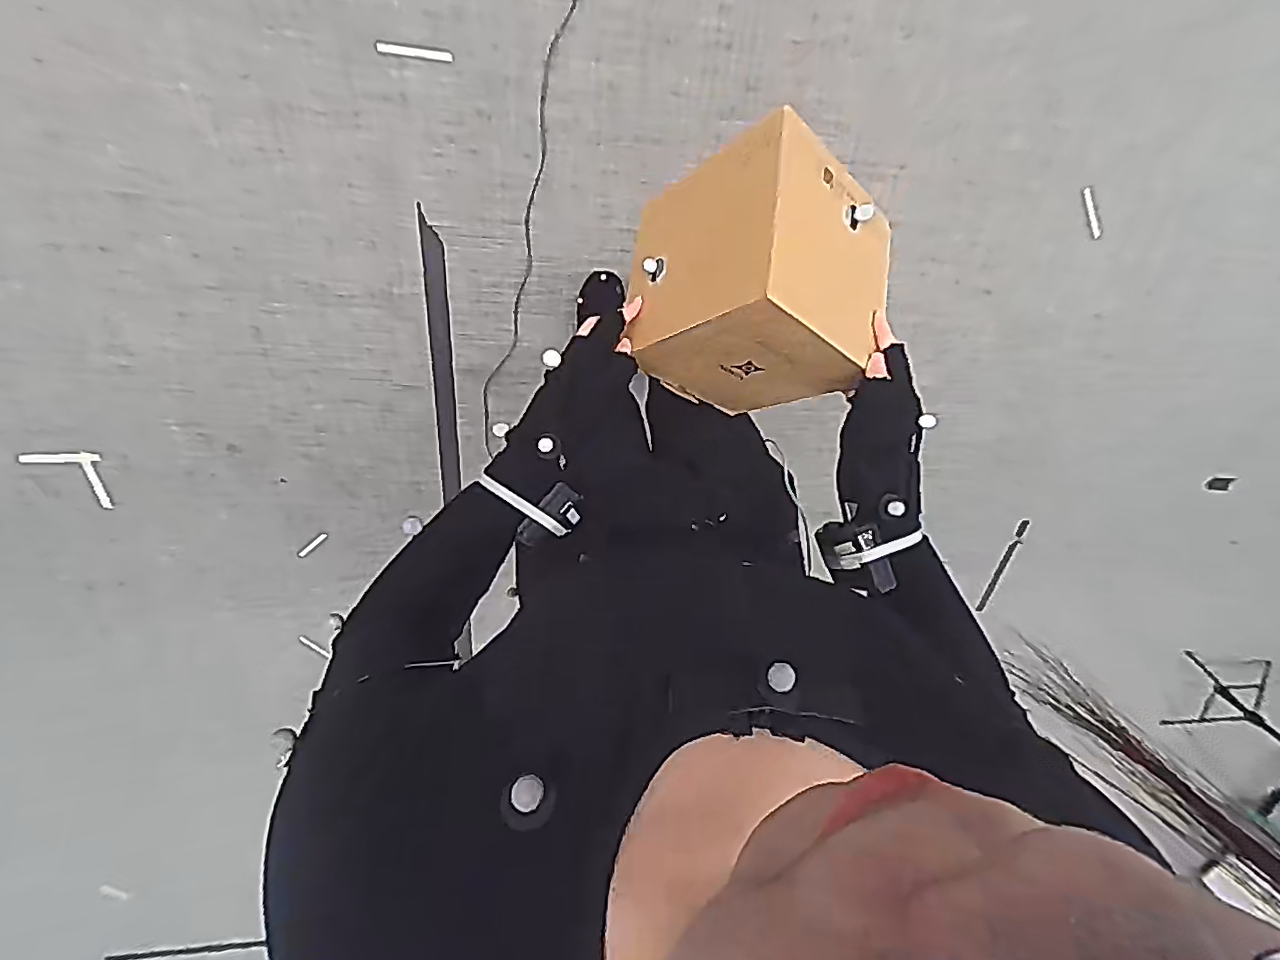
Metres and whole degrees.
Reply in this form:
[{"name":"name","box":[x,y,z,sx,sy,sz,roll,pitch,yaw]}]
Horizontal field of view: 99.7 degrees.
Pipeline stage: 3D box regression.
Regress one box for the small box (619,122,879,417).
[{"name":"small box","box":[0.106,-0.178,0.511,0.168,0.179,0.176,18,73,-37]}]

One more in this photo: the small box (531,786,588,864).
[{"name":"small box","box":[-0.278,1.180,1.857,0.179,0.176,0.168,4,119,-11]}]
